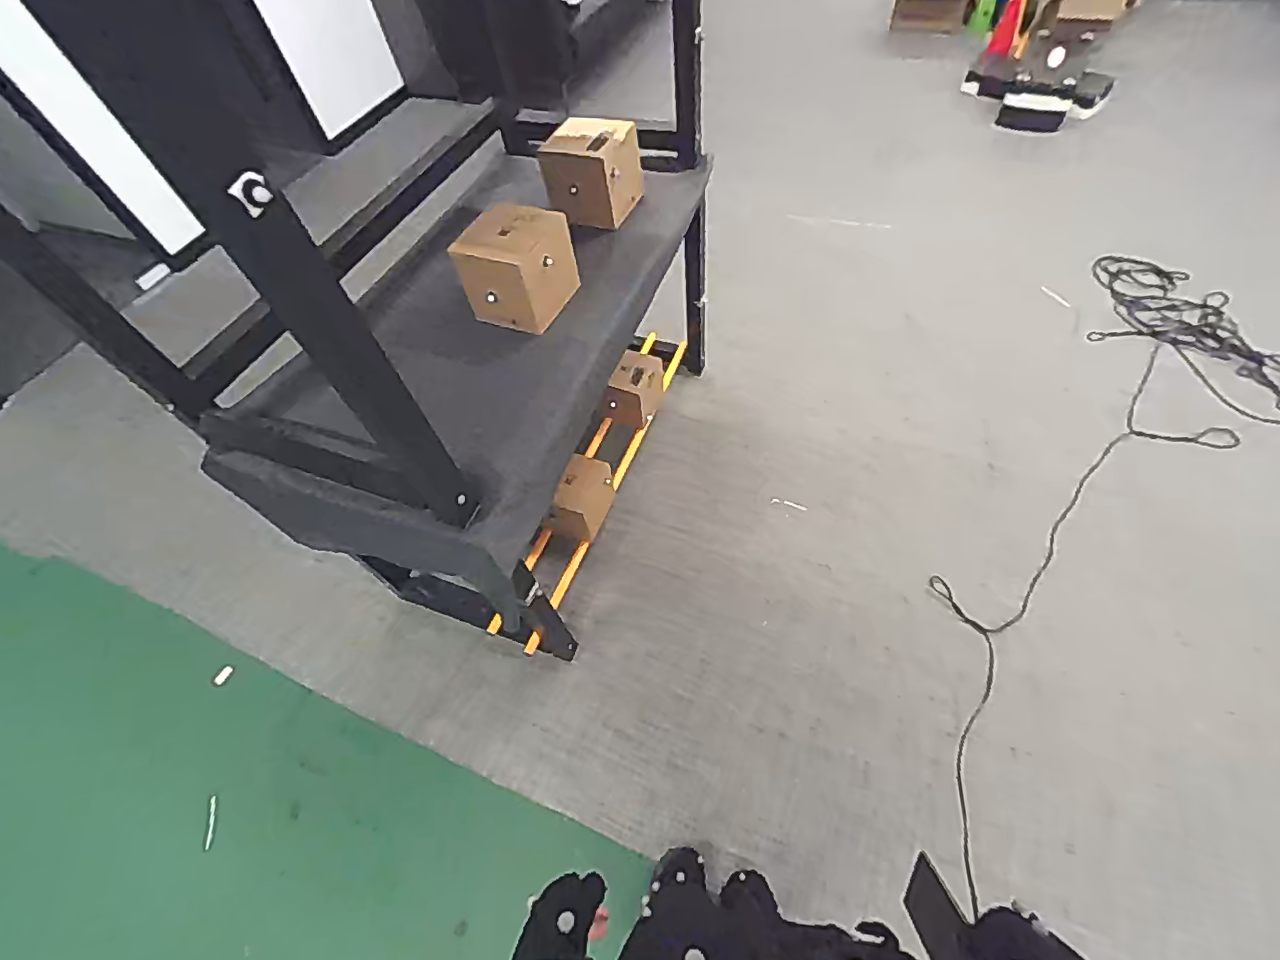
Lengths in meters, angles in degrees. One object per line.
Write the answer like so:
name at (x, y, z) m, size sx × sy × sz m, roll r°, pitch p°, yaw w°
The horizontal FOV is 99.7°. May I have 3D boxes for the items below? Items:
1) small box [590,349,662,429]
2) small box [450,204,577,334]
small box at (-0.038, -0.289, 1.743) m, size 0.179 × 0.176 × 0.168 m, roll 19°, pitch 60°, yaw 18°
small box at (-0.244, -0.426, 1.102) m, size 0.168 × 0.176 × 0.179 m, roll 19°, pitch 60°, yaw 18°
